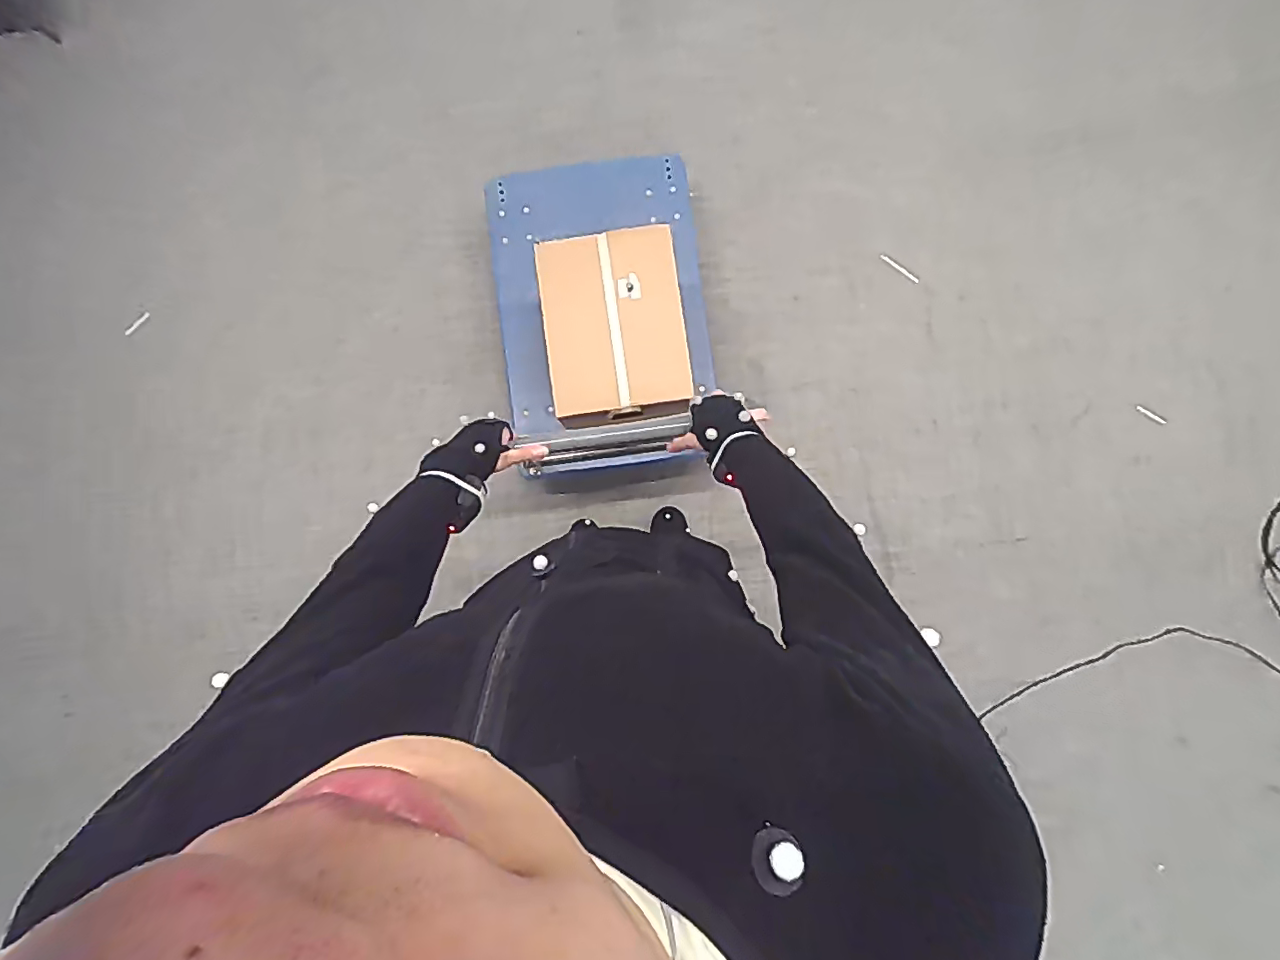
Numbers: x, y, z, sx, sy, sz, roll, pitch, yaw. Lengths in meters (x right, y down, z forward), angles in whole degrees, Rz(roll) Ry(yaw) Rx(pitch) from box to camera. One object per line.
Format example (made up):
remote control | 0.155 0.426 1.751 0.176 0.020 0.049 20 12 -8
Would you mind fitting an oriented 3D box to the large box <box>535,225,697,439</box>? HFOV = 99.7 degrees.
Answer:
large box | -0.052 -0.340 1.337 0.320 0.320 0.408 -8 85 0
